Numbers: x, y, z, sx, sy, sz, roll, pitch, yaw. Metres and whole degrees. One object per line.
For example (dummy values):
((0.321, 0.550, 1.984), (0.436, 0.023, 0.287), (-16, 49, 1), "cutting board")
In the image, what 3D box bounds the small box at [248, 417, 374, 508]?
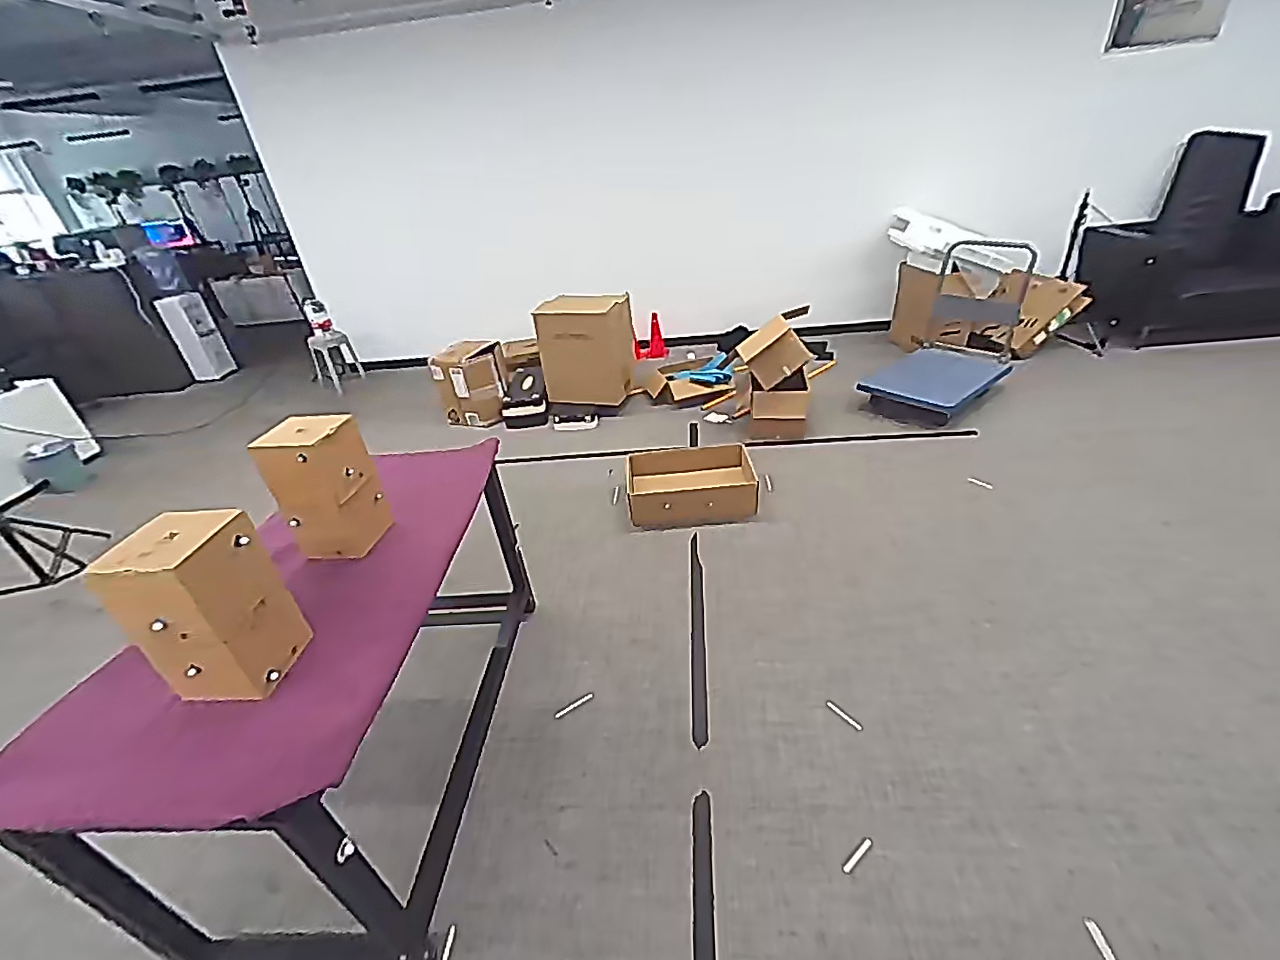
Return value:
((-0.800, -0.042, 1.335), (0.179, 0.176, 0.168), (-2, 31, 7), "small box")

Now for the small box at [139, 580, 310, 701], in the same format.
((-0.798, 0.315, 1.064), (0.179, 0.176, 0.168), (-3, 31, 6), "small box")

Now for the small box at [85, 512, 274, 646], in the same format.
((-0.805, 0.176, 0.975), (0.168, 0.176, 0.179), (-3, 31, 5), "small box")
